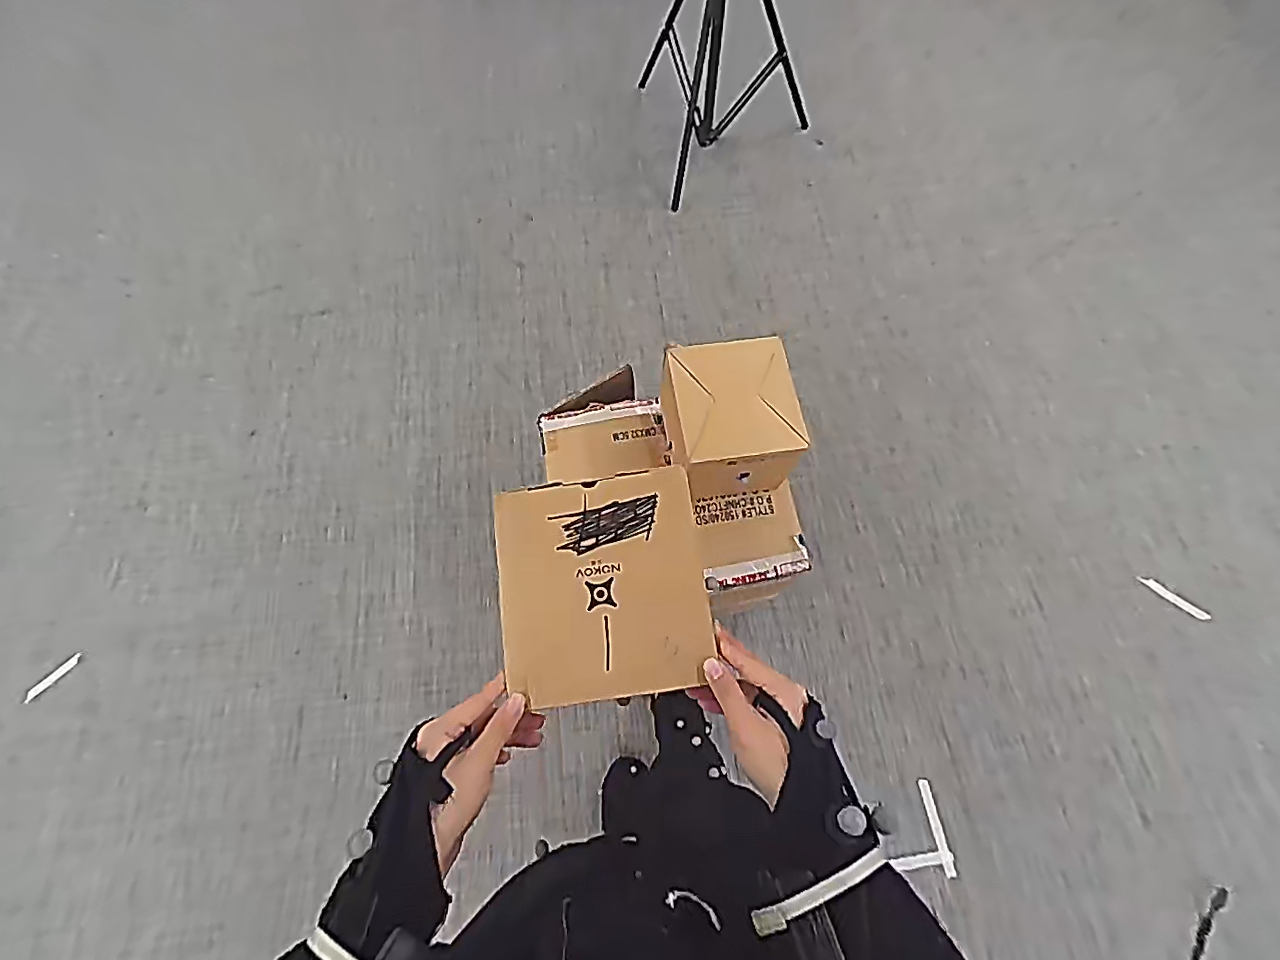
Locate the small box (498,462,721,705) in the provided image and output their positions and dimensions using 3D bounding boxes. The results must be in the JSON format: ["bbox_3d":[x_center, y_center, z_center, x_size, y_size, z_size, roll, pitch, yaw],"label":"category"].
[{"bbox_3d":[-0.025,0.100,0.508,0.168,0.176,0.179,-9,74,1],"label":"small box"}]

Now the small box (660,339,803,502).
[{"bbox_3d":[0.128,-0.082,0.808,0.168,0.176,0.179,-8,71,-5],"label":"small box"}]
